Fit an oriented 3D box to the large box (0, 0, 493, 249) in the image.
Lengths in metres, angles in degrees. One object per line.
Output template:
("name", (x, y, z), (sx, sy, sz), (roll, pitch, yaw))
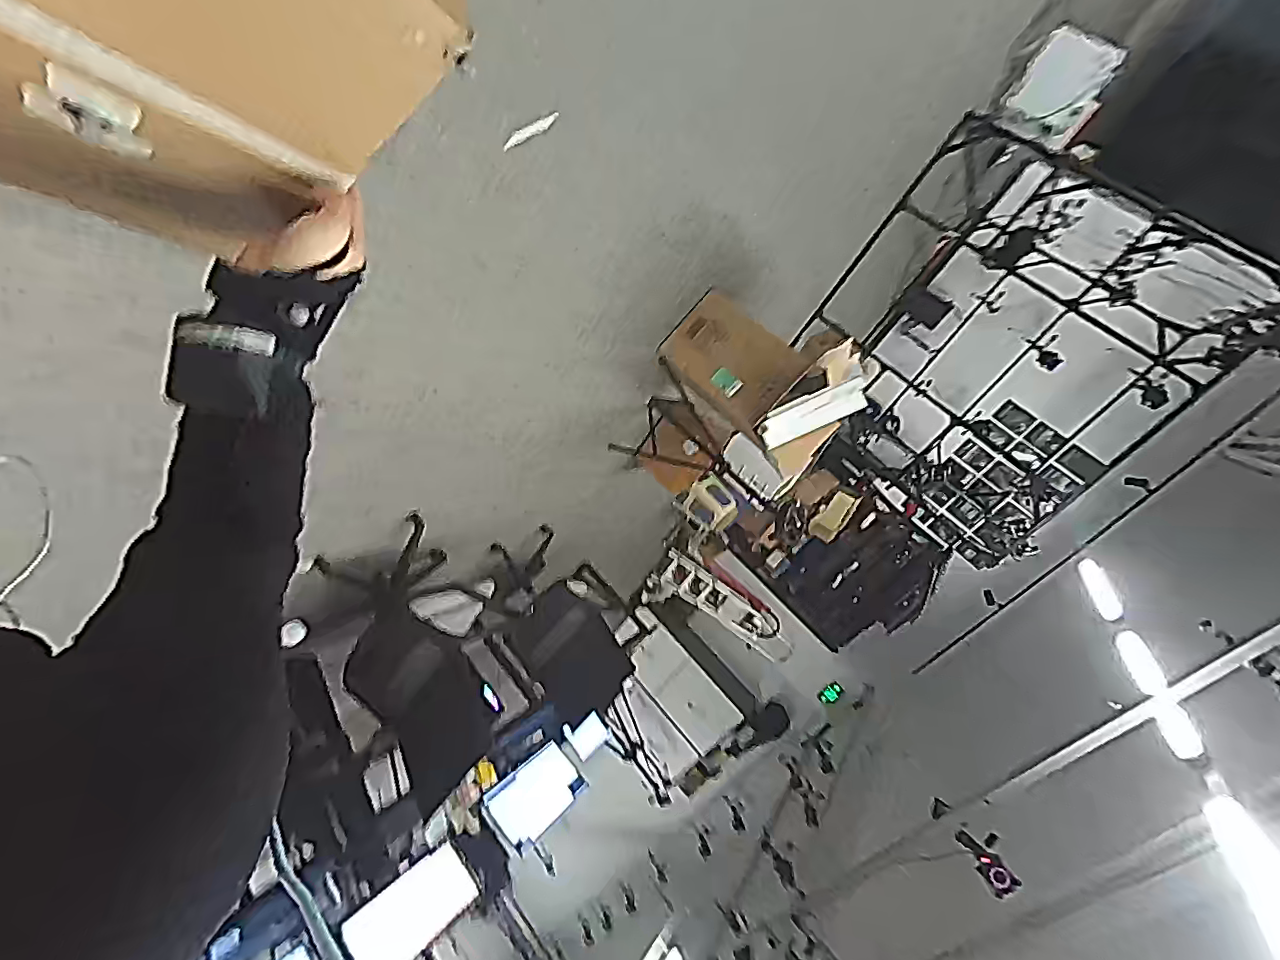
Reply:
("large box", (-0.353, -0.412, 0.294), (0.320, 0.320, 0.408), (-18, 165, 33))
